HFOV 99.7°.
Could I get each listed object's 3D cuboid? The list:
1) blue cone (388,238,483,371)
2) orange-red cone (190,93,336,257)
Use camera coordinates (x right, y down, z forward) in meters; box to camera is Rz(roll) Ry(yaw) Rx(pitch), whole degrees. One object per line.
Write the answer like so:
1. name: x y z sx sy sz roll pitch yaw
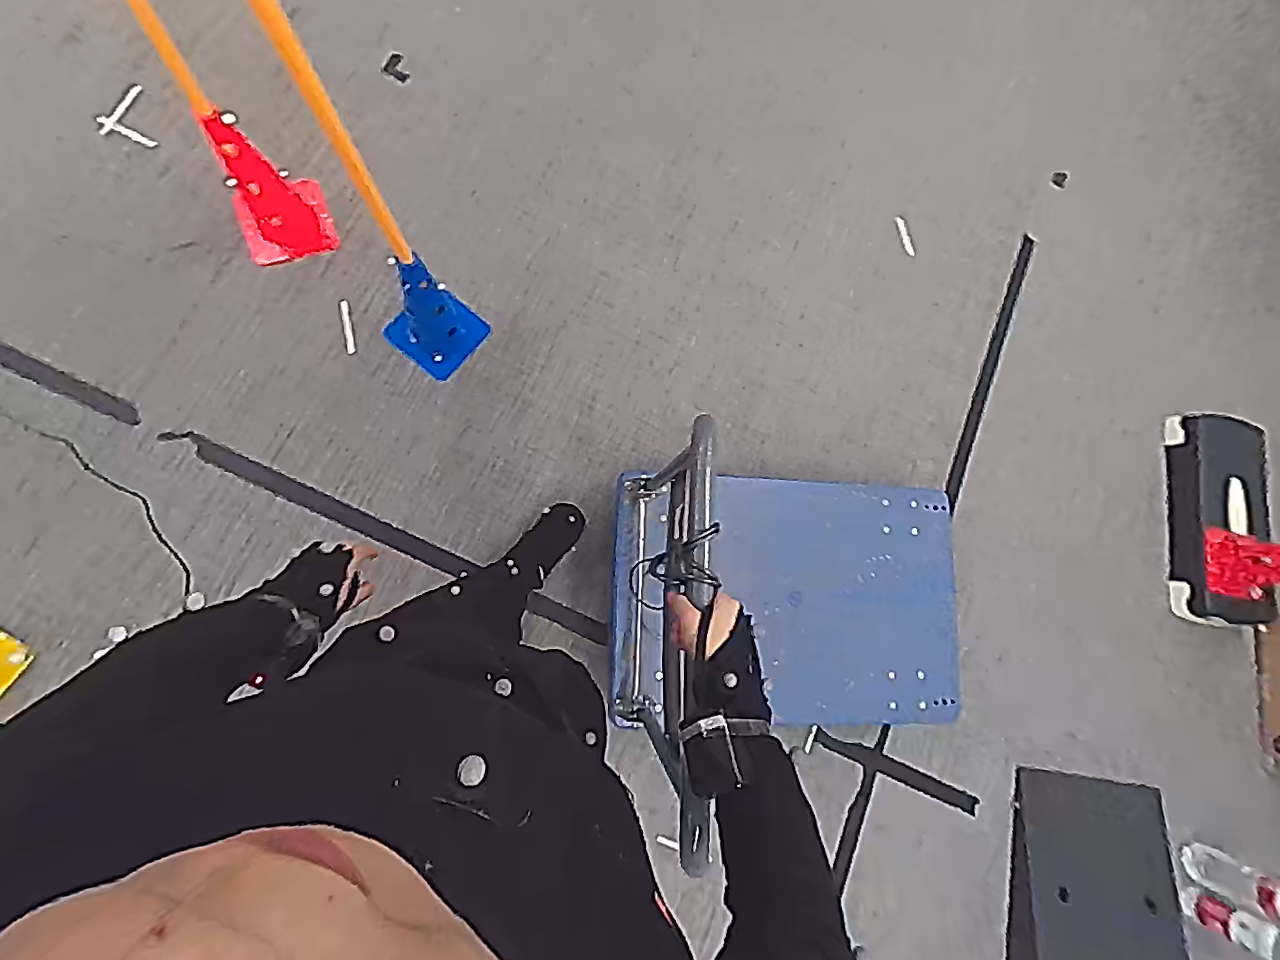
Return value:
1. blue cone: -0.491 -0.415 1.219 0.192 0.380 0.193 41 77 -2
2. orange-red cone: -0.845 -0.679 1.174 0.198 0.360 0.199 -19 87 -12
